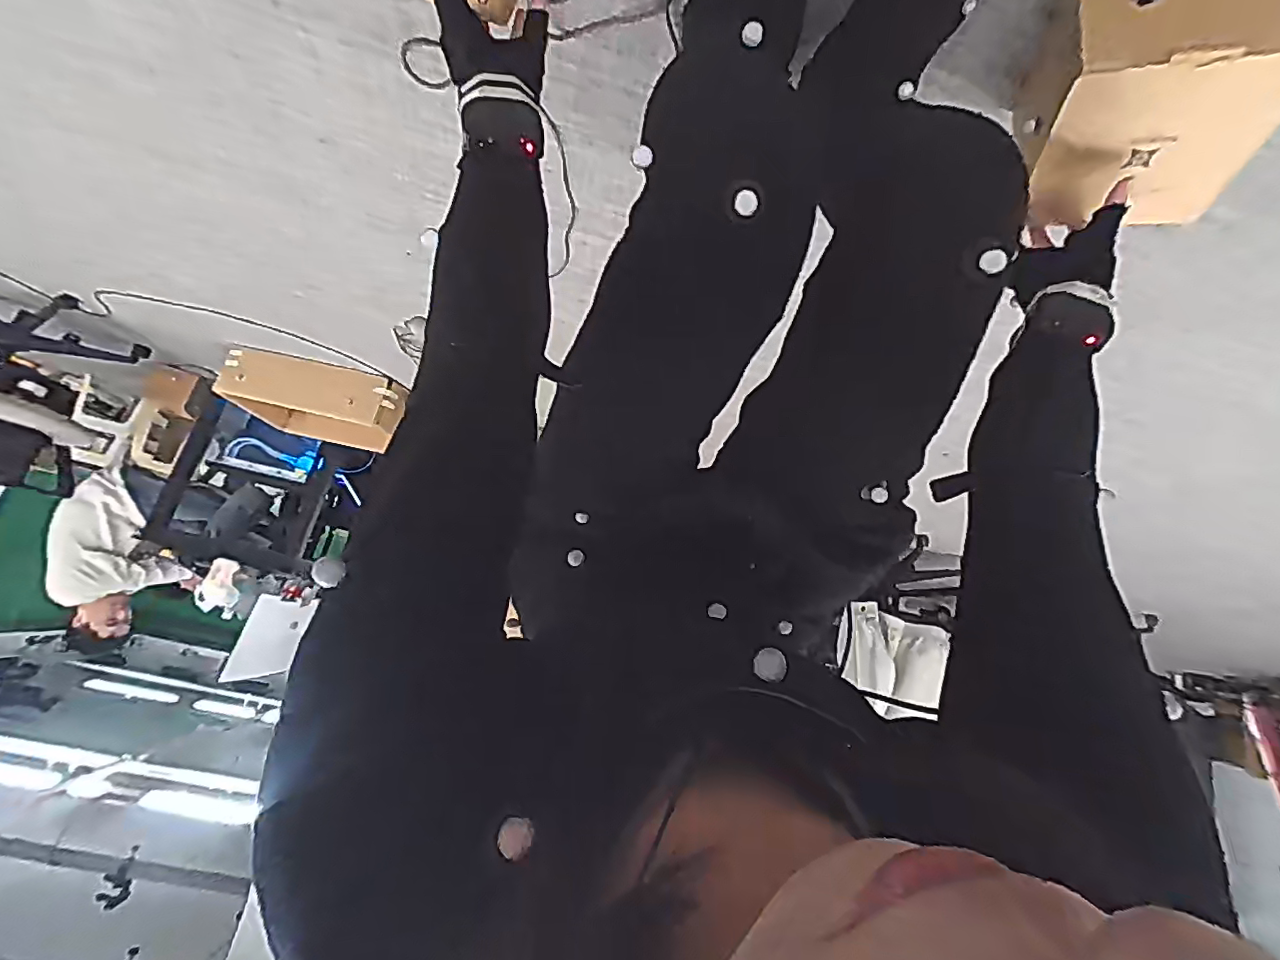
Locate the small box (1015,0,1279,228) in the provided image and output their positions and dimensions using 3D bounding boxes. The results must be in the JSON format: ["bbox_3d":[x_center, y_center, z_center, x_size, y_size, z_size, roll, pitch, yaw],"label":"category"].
[{"bbox_3d":[0.479,-0.371,0.510,0.168,0.176,0.179,8,164,20],"label":"small box"}]

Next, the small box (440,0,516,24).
[{"bbox_3d":[-0.167,-0.537,0.431,0.168,0.176,0.179,15,161,-7],"label":"small box"}]
